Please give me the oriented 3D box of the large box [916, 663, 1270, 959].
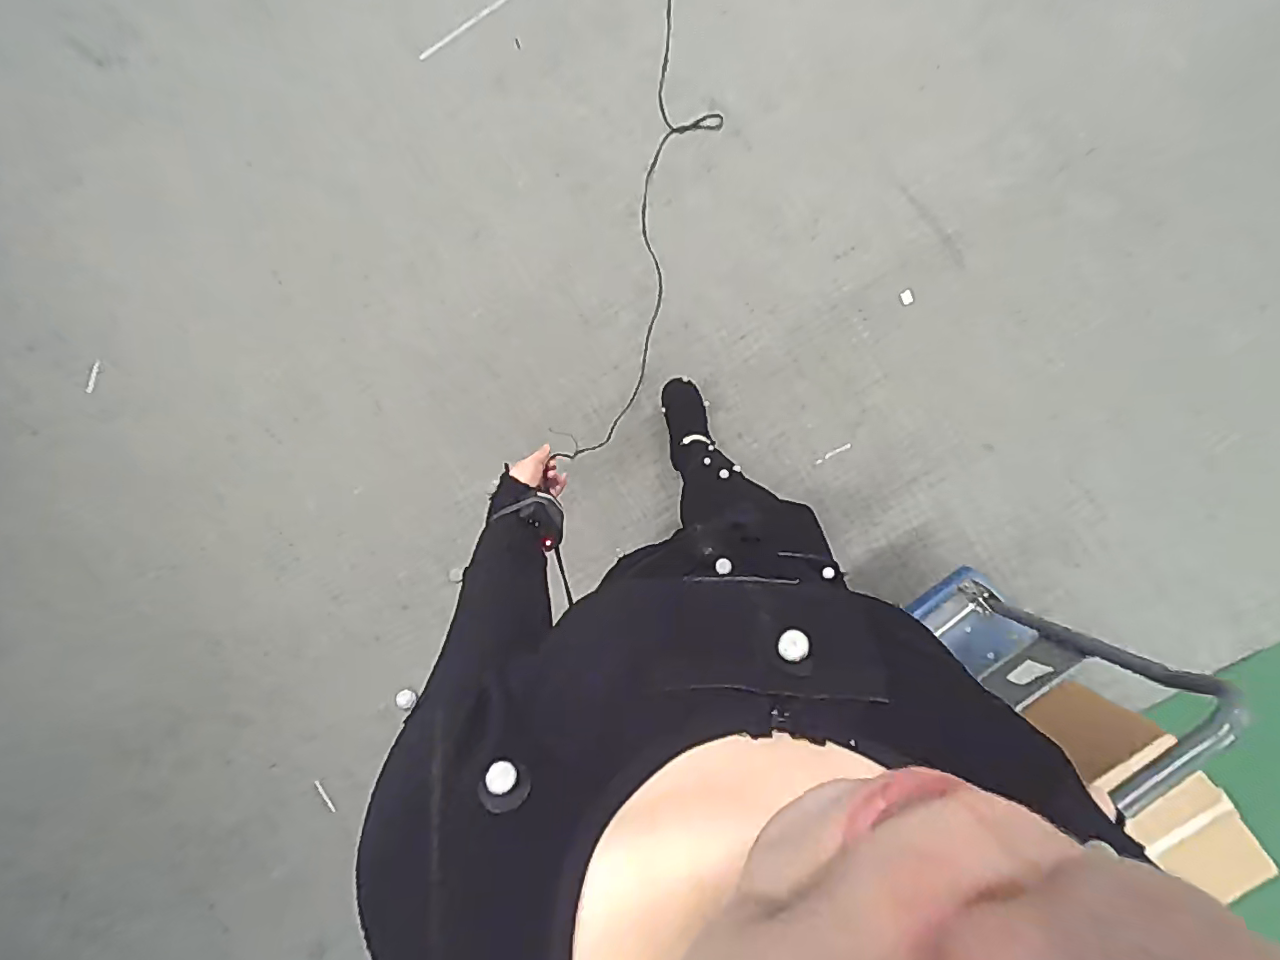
[{"bbox_3d":[0.889,0.665,1.126,0.408,0.320,0.320,-38,88,5],"label":"large box"}]
